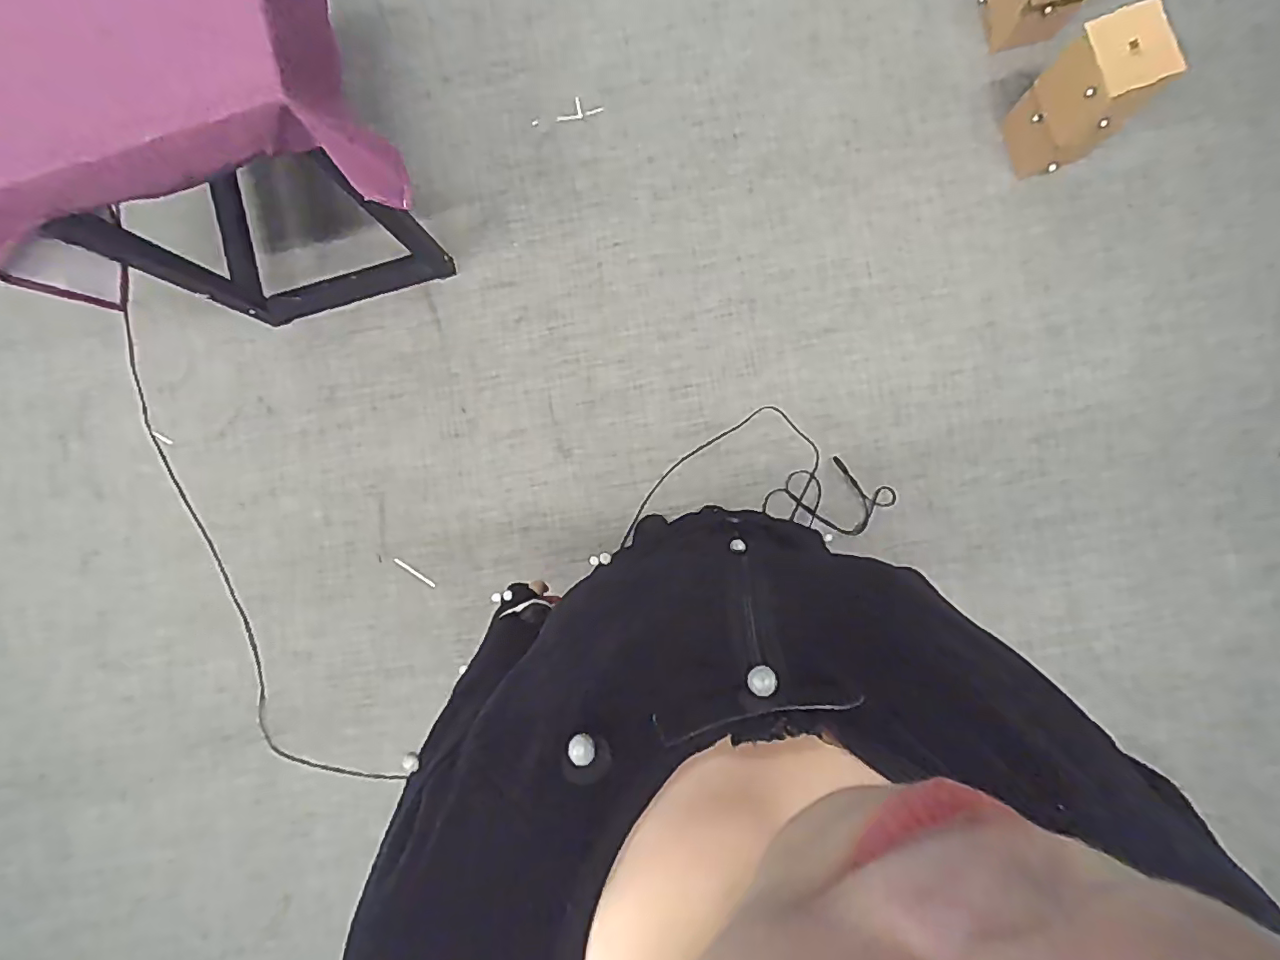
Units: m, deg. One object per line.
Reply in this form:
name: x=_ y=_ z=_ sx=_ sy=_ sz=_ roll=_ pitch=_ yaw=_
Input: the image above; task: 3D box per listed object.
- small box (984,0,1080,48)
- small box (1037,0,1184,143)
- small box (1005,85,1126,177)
small box: x=1.032 y=-1.279 z=1.410 sx=0.179 sy=0.176 sz=0.168 roll=-12 pitch=88 yaw=3
small box: x=1.063 y=-0.927 z=1.239 sx=0.168 sy=0.176 sz=0.179 roll=-19 pitch=88 yaw=4
small box: x=1.089 y=-0.930 z=1.400 sx=0.168 sy=0.176 sz=0.179 roll=-14 pitch=88 yaw=4
